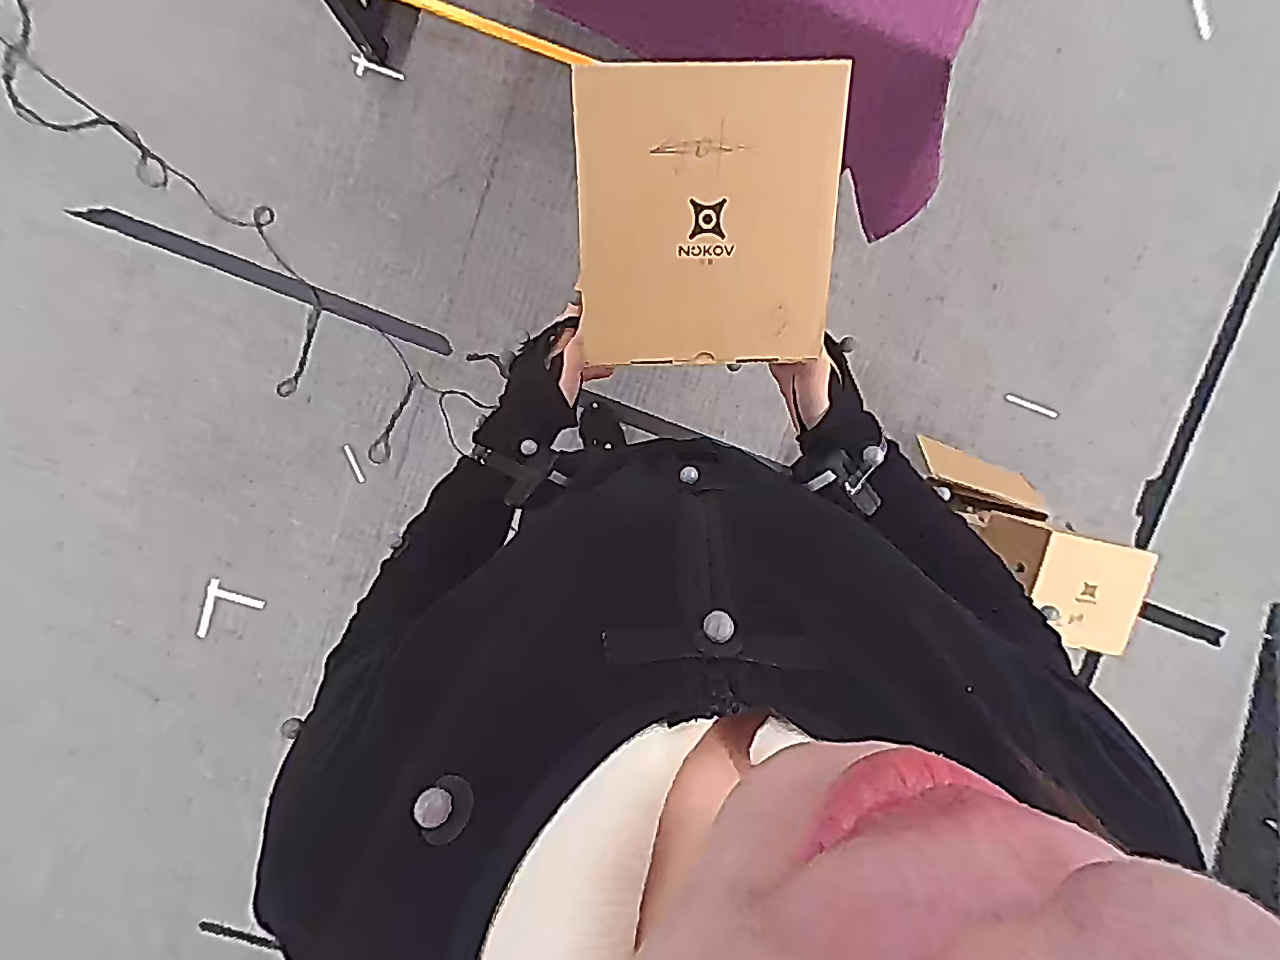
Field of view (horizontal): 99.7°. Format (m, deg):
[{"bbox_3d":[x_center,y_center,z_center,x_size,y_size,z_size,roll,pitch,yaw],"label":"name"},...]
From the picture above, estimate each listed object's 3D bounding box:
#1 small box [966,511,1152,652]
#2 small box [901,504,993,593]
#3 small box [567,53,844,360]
[{"bbox_3d":[0.702,0.163,0.930,0.168,0.176,0.179,13,98,2],"label":"small box"},{"bbox_3d":[0.728,0.153,1.260,0.168,0.176,0.179,-1,99,2],"label":"small box"},{"bbox_3d":[0.037,-0.193,0.418,0.168,0.176,0.179,-1,110,-2],"label":"small box"}]
